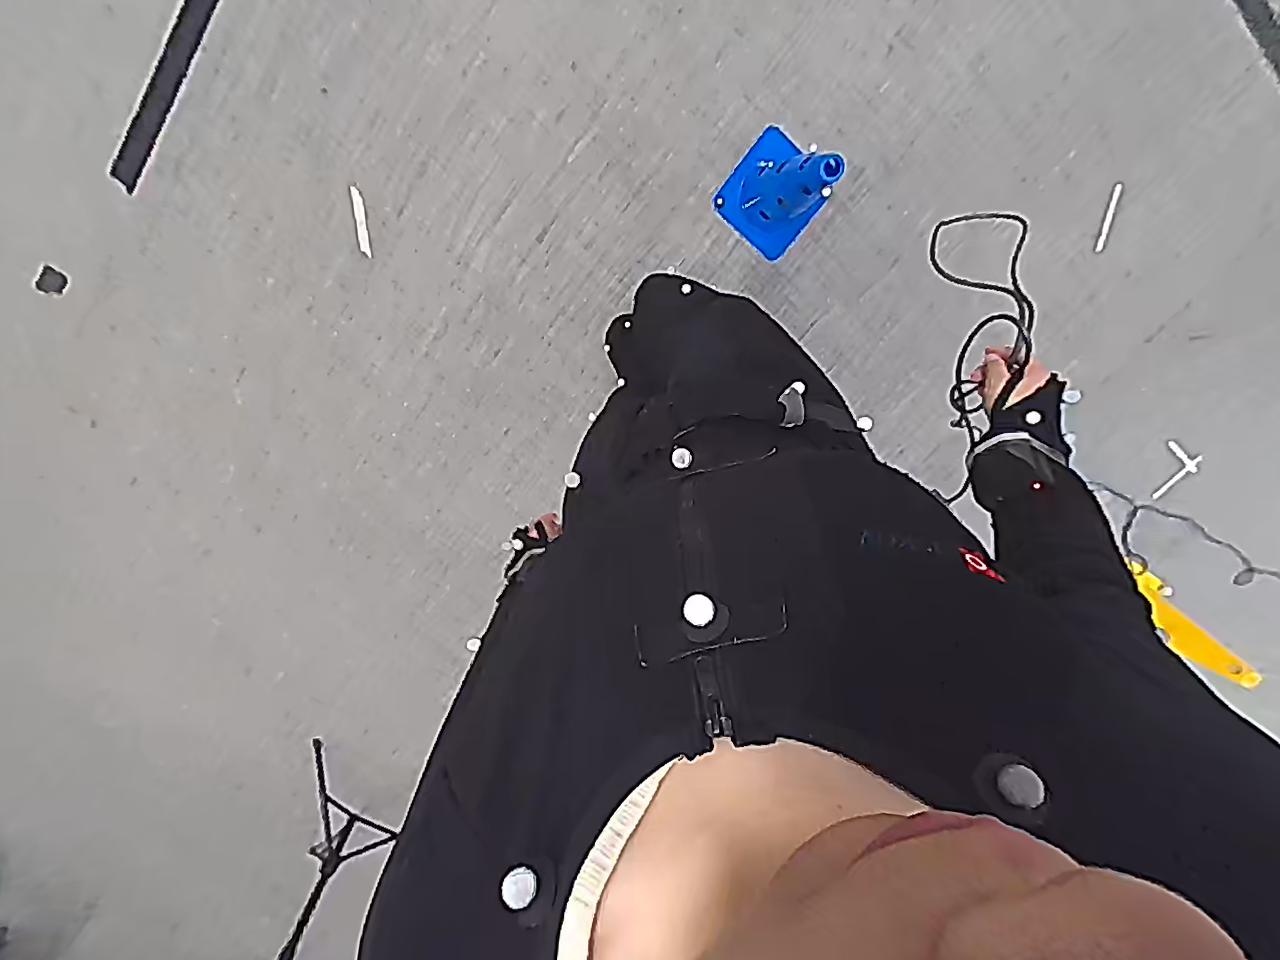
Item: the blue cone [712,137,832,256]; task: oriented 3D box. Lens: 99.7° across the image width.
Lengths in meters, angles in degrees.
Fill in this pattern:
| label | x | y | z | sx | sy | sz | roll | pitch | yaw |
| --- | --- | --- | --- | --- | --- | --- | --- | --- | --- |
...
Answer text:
| label | x | y | z | sx | sy | sz | roll | pitch | yaw |
| --- | --- | --- | --- | --- | --- | --- | --- | --- | --- |
| blue cone | 0.284 | -0.550 | 1.019 | 0.193 | 0.380 | 0.192 | 38 | 106 | -15 |
